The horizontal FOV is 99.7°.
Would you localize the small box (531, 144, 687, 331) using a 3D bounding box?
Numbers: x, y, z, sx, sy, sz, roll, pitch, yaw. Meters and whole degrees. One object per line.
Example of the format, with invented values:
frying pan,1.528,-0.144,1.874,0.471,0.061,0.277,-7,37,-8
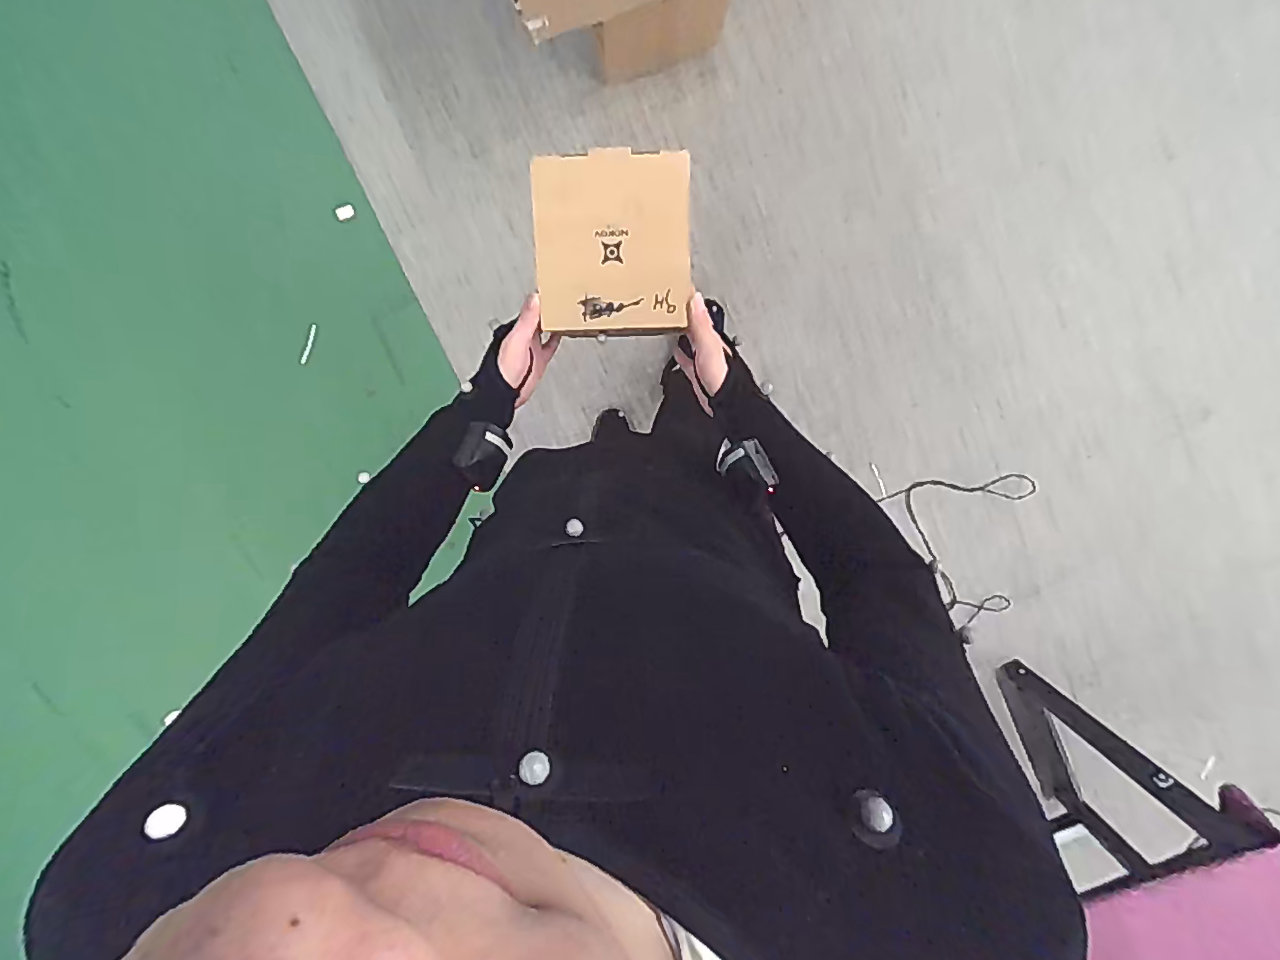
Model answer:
small box,-0.029,-0.277,0.654,0.168,0.176,0.179,0,103,4
